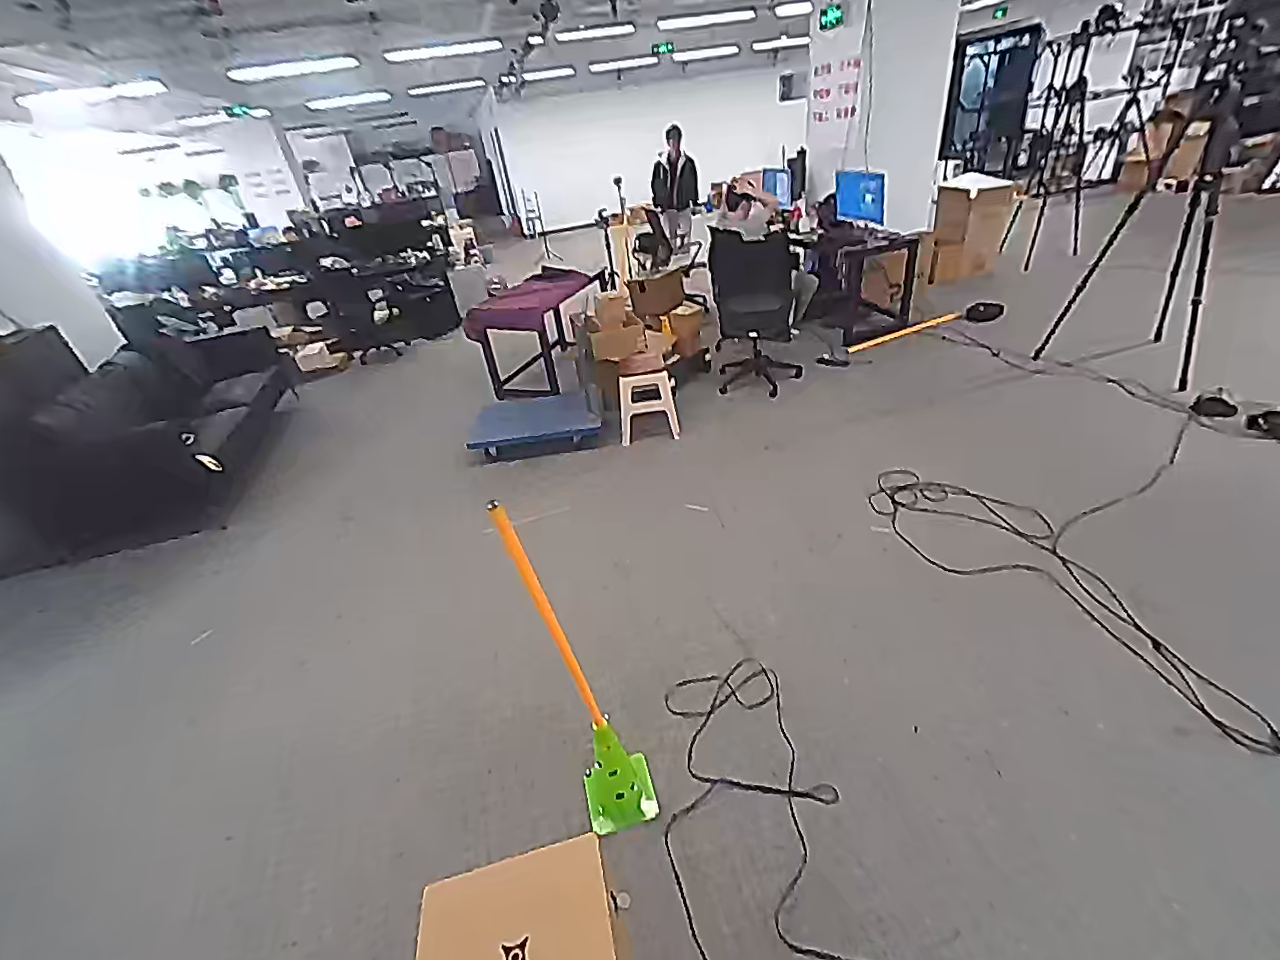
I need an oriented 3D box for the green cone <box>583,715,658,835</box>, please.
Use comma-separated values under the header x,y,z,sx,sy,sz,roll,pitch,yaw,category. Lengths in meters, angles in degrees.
x,y,z,sx,sy,sz,roll,pitch,yaw,category
-0.081,0.792,1.522,0.202,0.368,0.200,-13,33,-9,green cone
